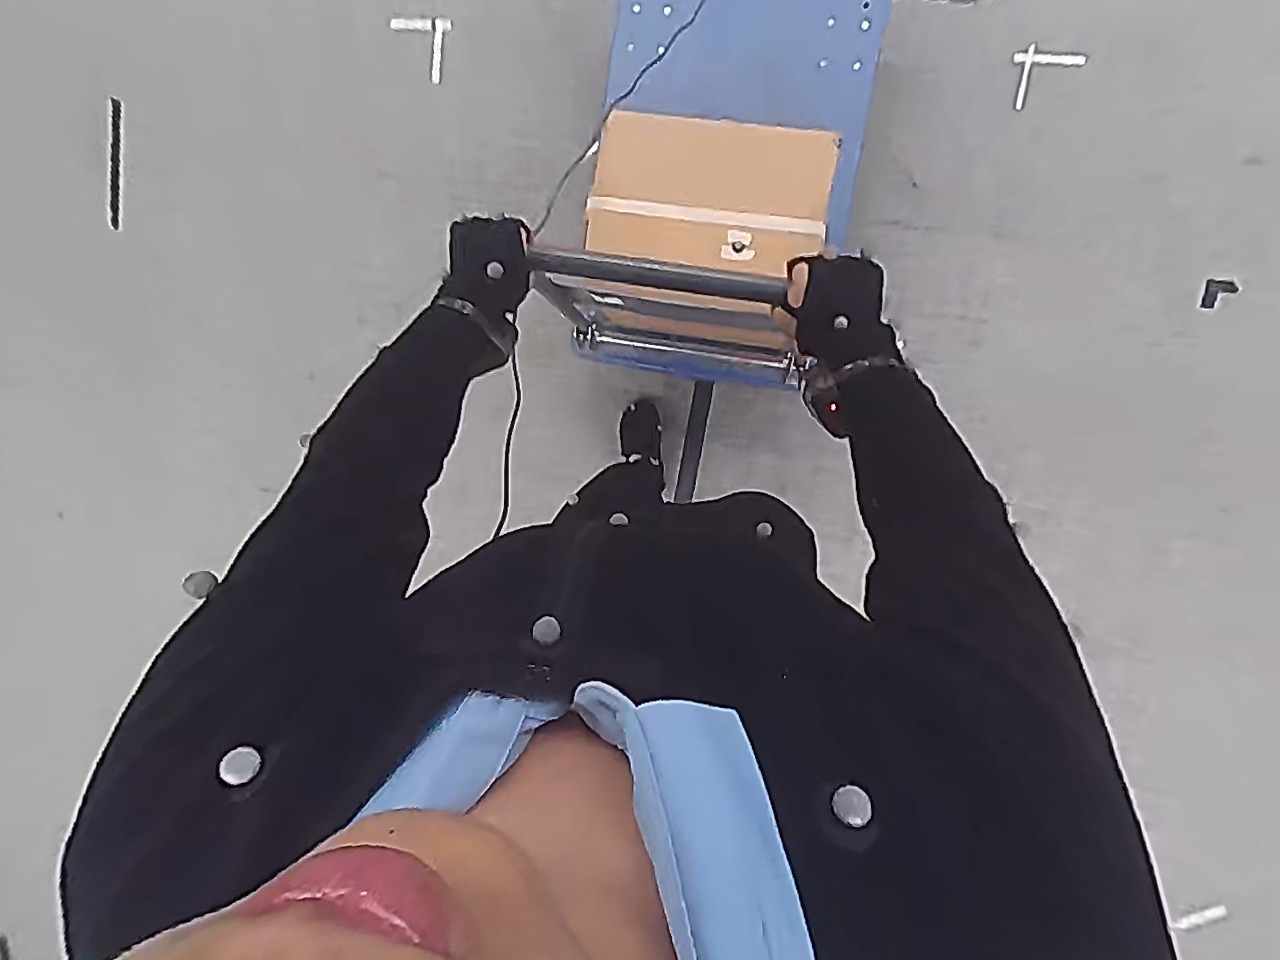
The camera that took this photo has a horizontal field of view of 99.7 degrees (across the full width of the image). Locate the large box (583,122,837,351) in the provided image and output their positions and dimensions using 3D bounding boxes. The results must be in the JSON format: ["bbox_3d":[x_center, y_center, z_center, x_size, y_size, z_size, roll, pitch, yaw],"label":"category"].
[{"bbox_3d":[0.128,-0.458,1.084,0.408,0.320,0.320,10,97,6],"label":"large box"}]
